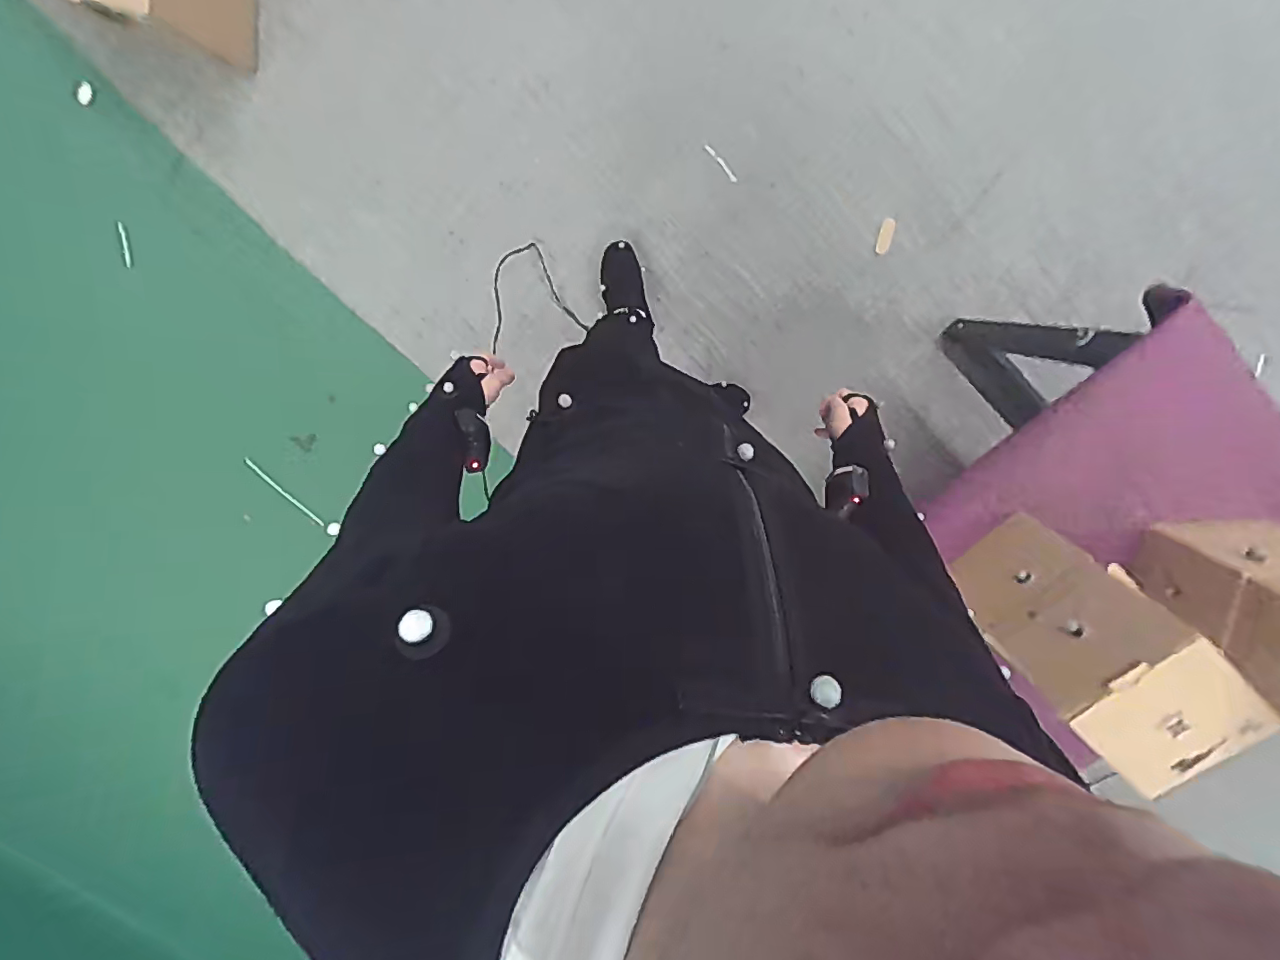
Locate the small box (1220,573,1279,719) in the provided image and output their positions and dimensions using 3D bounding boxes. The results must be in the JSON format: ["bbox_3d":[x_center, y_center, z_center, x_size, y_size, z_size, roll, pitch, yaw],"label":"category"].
[{"bbox_3d":[0.889,0.227,0.667,0.168,0.176,0.179,-2,109,6],"label":"small box"}]

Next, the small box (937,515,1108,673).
[{"bbox_3d":[0.614,0.184,0.844,0.168,0.176,0.179,41,107,-11],"label":"small box"}]

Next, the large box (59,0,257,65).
[{"bbox_3d":[-1.094,-1.227,1.178,0.320,0.320,0.408,14,110,0],"label":"large box"}]

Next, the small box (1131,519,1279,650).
[{"bbox_3d":[0.902,0.167,0.818,0.179,0.176,0.168,-2,110,5],"label":"small box"}]

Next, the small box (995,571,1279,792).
[{"bbox_3d":[0.609,0.242,0.691,0.179,0.176,0.168,42,107,-11],"label":"small box"}]
